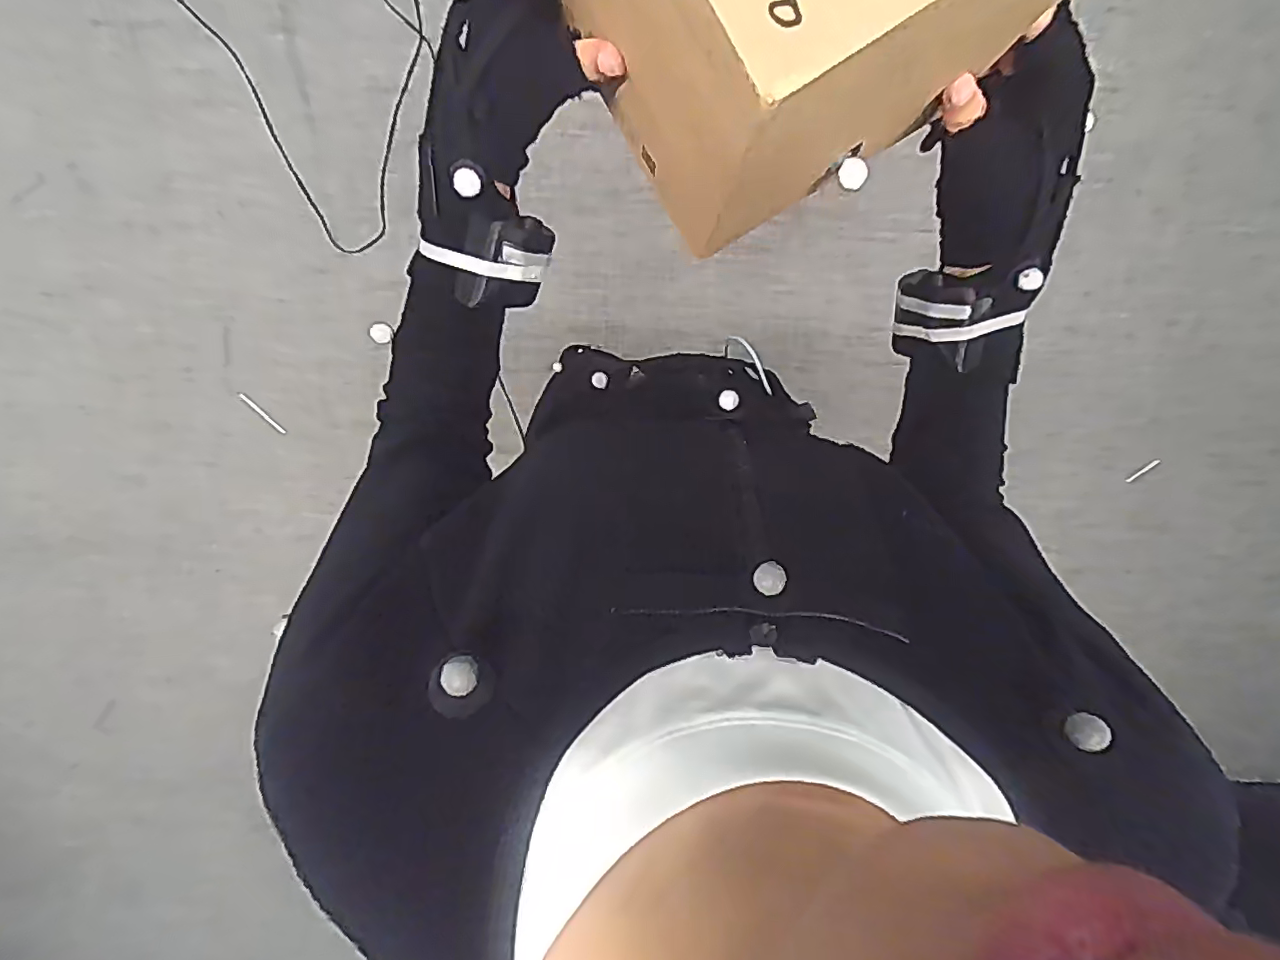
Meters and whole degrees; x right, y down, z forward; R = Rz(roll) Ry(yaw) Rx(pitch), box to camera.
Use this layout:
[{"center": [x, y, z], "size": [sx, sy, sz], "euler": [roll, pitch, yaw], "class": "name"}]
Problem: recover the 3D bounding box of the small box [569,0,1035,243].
[{"center": [0.069, -0.248, 0.251], "size": [0.179, 0.176, 0.168], "euler": [-31, 95, 1], "class": "small box"}]
